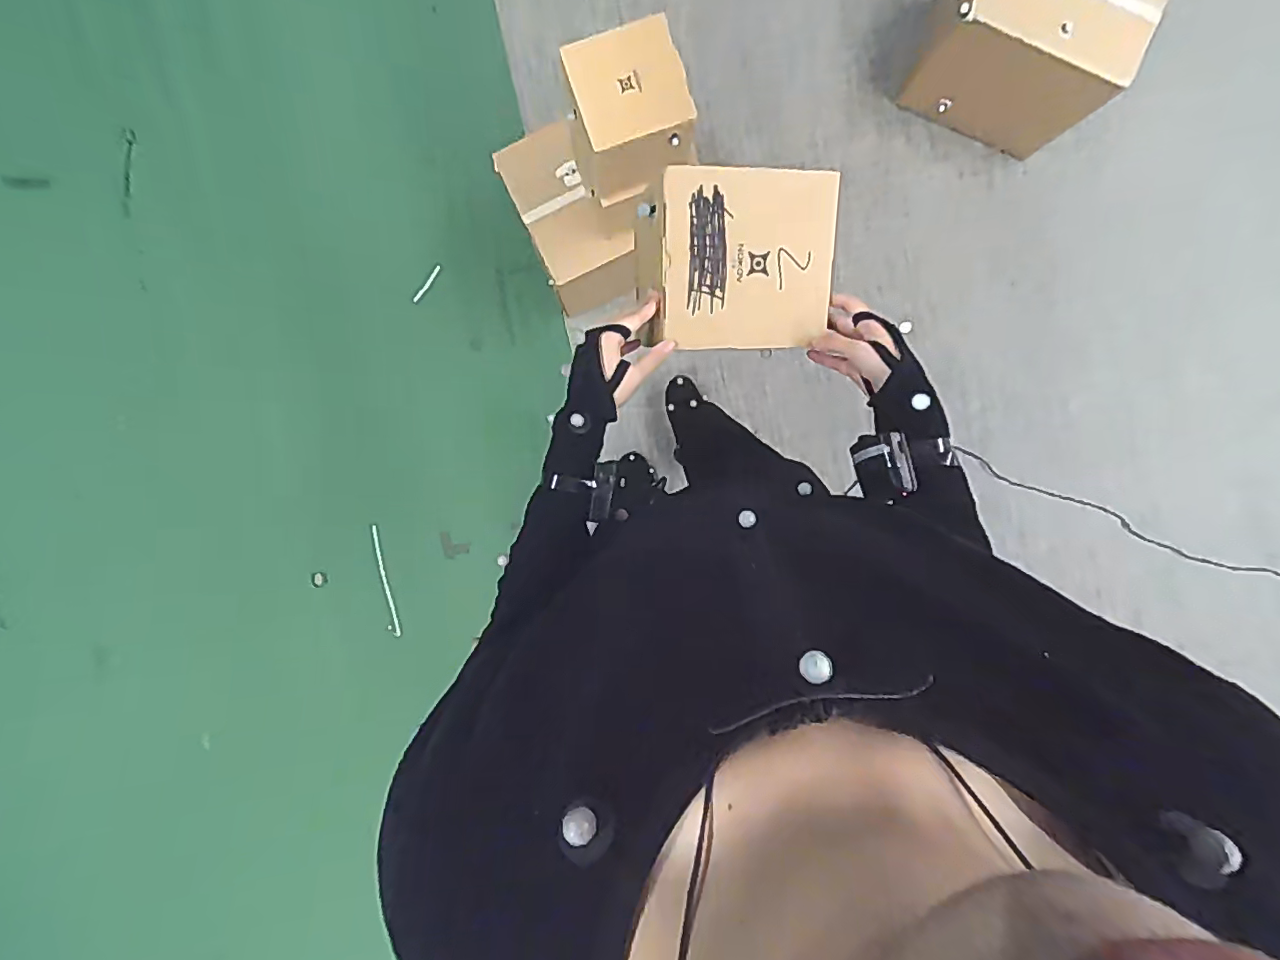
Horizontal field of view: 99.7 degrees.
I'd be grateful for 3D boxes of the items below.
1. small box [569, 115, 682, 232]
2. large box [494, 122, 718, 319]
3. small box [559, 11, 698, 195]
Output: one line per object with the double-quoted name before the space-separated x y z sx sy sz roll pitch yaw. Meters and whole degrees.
"small box" -0.028 -0.615 1.067 0.168 0.176 0.179 -21 94 -2
"large box" -0.074 -0.646 1.311 0.408 0.320 0.320 -27 93 1
"small box" -0.019 -0.614 0.905 0.179 0.176 0.168 -20 94 -2
